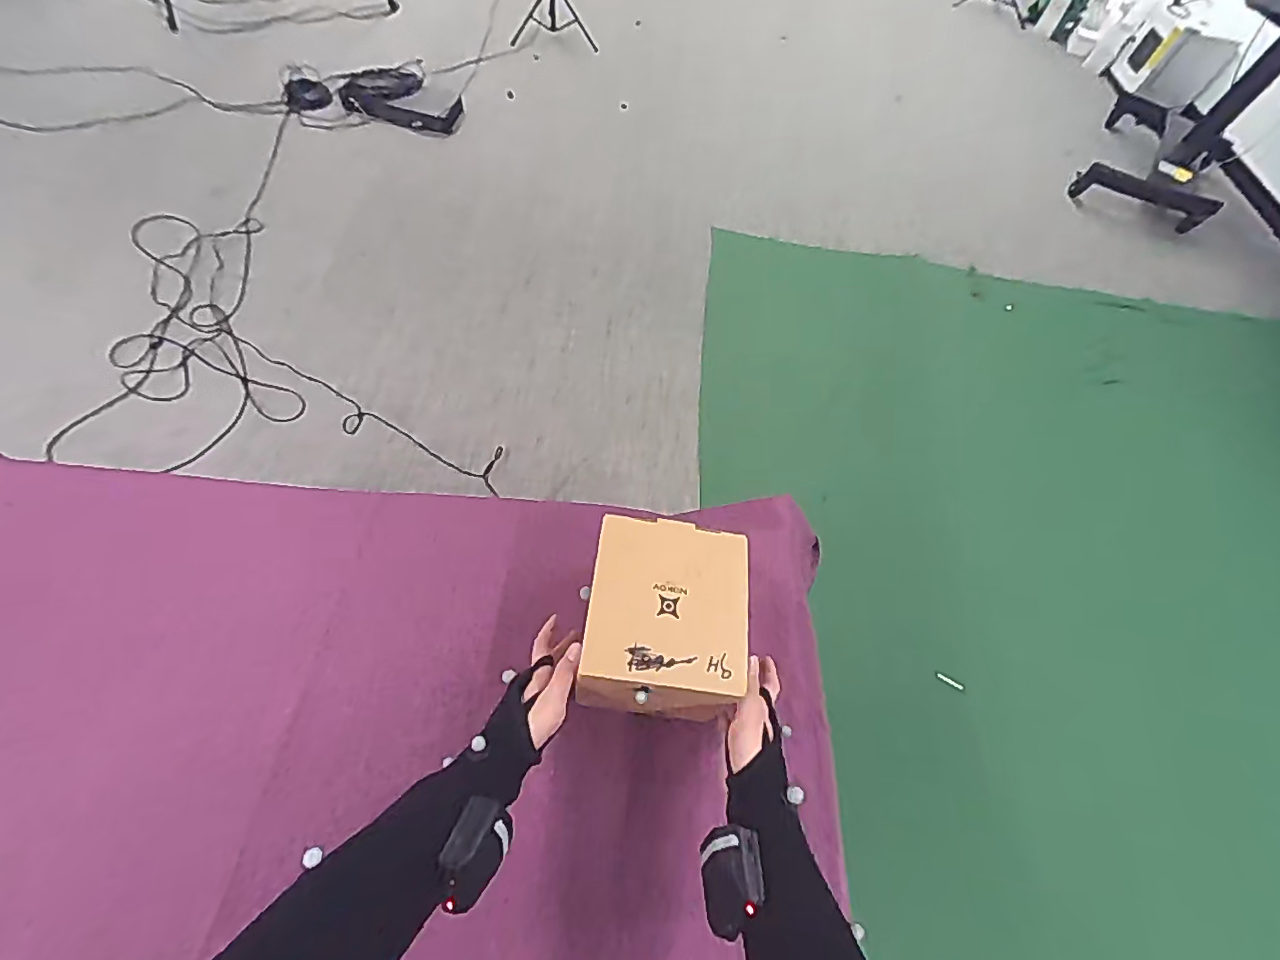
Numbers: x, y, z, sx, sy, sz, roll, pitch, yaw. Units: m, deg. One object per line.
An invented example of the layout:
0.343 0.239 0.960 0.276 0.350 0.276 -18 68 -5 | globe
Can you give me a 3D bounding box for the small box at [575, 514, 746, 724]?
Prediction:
0.019 0.165 0.623 0.168 0.176 0.179 9 57 -1 | small box
